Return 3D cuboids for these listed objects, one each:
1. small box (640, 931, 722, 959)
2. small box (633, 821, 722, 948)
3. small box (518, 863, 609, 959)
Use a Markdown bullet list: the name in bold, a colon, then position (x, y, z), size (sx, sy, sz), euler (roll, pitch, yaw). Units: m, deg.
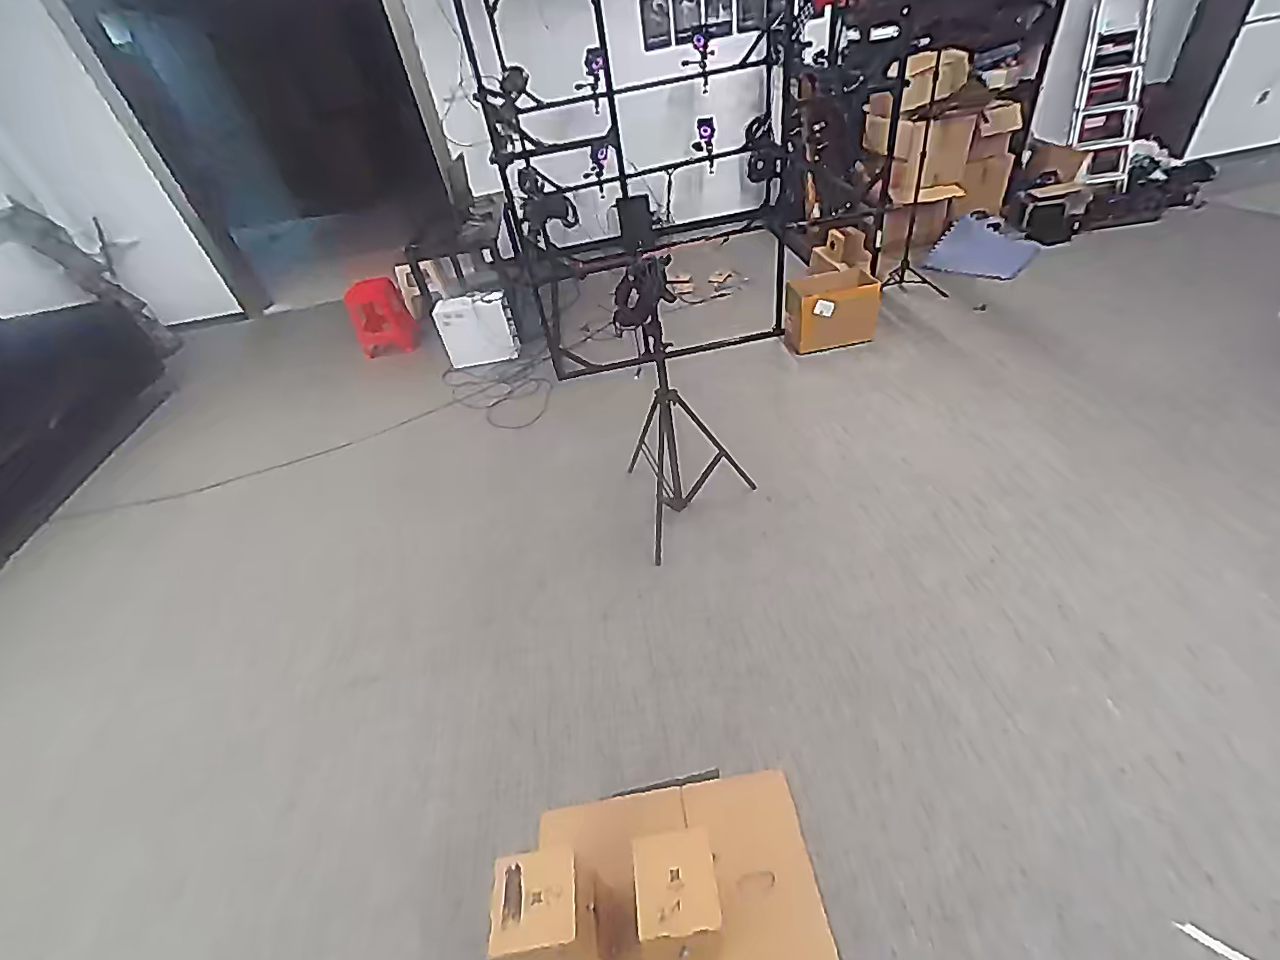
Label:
- **small box**: position (0.092, 0.986, 1.255), size (0.179, 0.176, 0.168), euler (-9, 41, 1)
- **small box**: position (0.079, 0.860, 1.149), size (0.168, 0.176, 0.179), euler (-9, 41, 2)
- **small box**: position (-0.172, 1.026, 1.262), size (0.179, 0.176, 0.168), euler (-11, 40, 1)
